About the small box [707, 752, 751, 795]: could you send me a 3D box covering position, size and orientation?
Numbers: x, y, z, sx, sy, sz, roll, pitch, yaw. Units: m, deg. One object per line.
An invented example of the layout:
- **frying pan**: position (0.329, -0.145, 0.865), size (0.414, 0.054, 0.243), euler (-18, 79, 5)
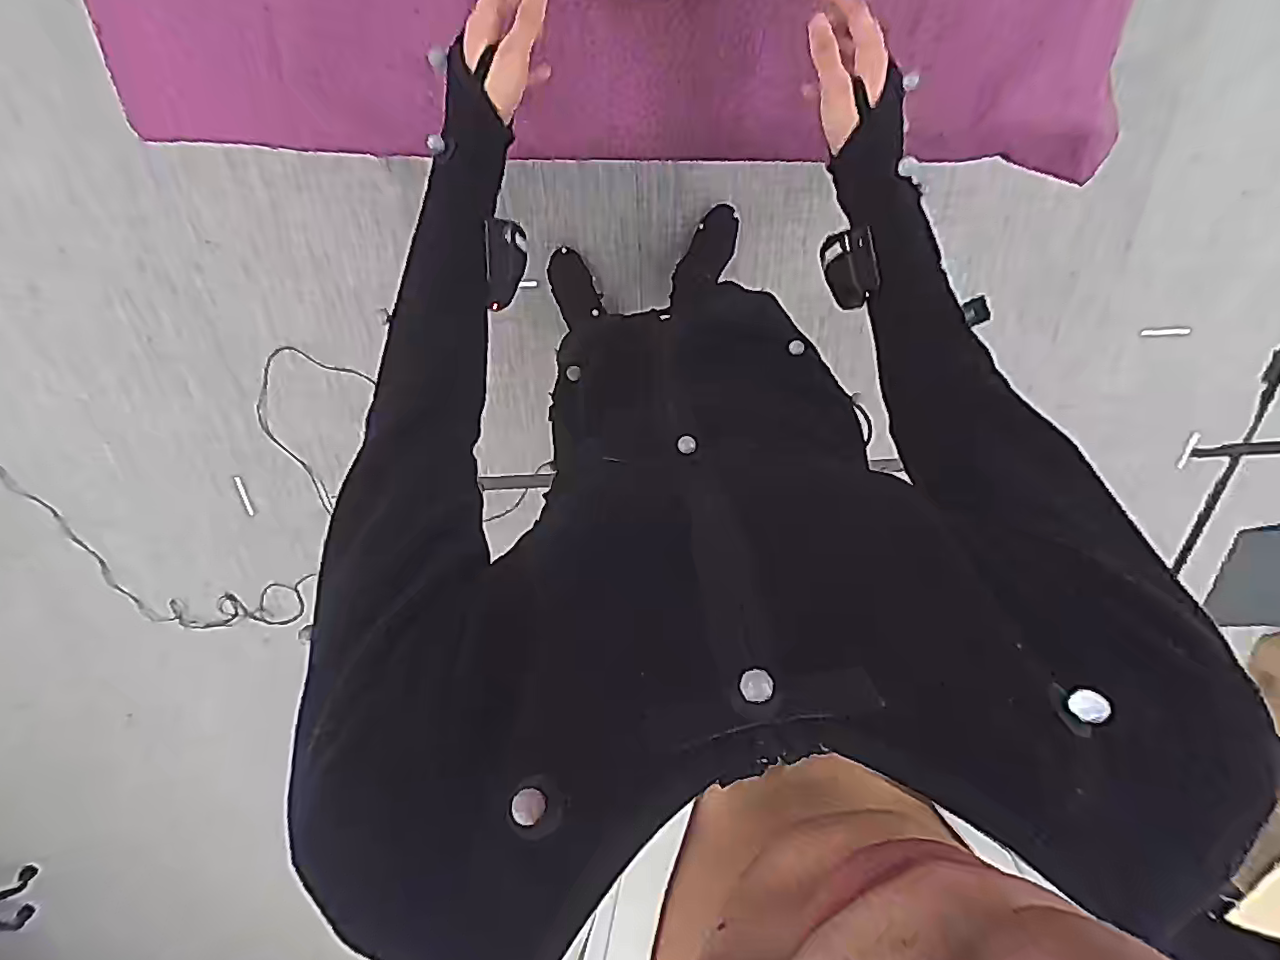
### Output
- **small box**: position (0.397, 1.363, 2.437), size (0.168, 0.176, 0.179), euler (-7, 118, -1)
